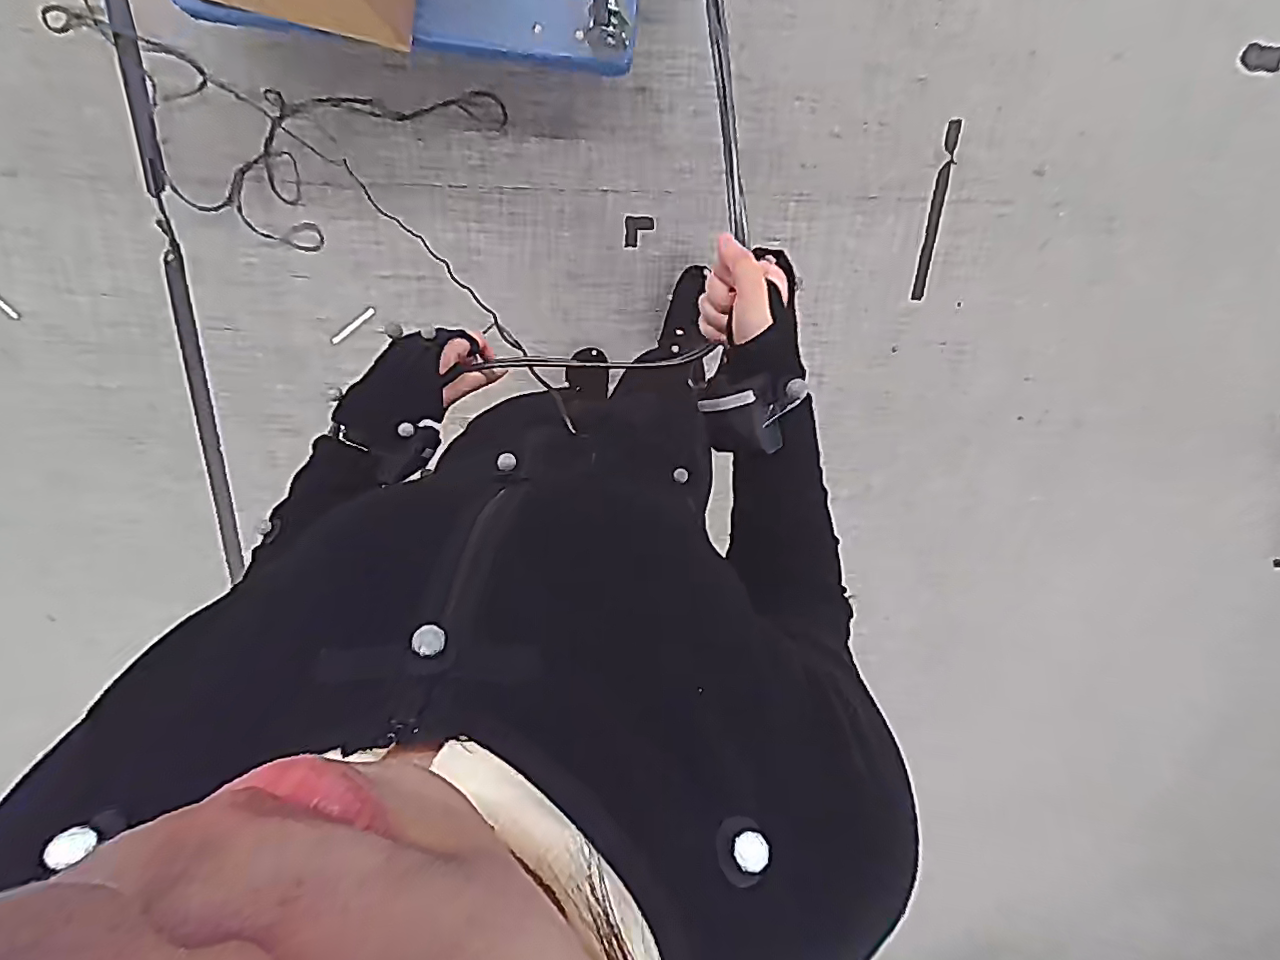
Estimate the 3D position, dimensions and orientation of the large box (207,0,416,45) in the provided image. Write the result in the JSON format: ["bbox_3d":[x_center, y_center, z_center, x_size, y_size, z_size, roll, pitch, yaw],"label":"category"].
[{"bbox_3d":[-0.593,-0.945,0.825,0.408,0.320,0.320,10,107,-5],"label":"large box"}]
